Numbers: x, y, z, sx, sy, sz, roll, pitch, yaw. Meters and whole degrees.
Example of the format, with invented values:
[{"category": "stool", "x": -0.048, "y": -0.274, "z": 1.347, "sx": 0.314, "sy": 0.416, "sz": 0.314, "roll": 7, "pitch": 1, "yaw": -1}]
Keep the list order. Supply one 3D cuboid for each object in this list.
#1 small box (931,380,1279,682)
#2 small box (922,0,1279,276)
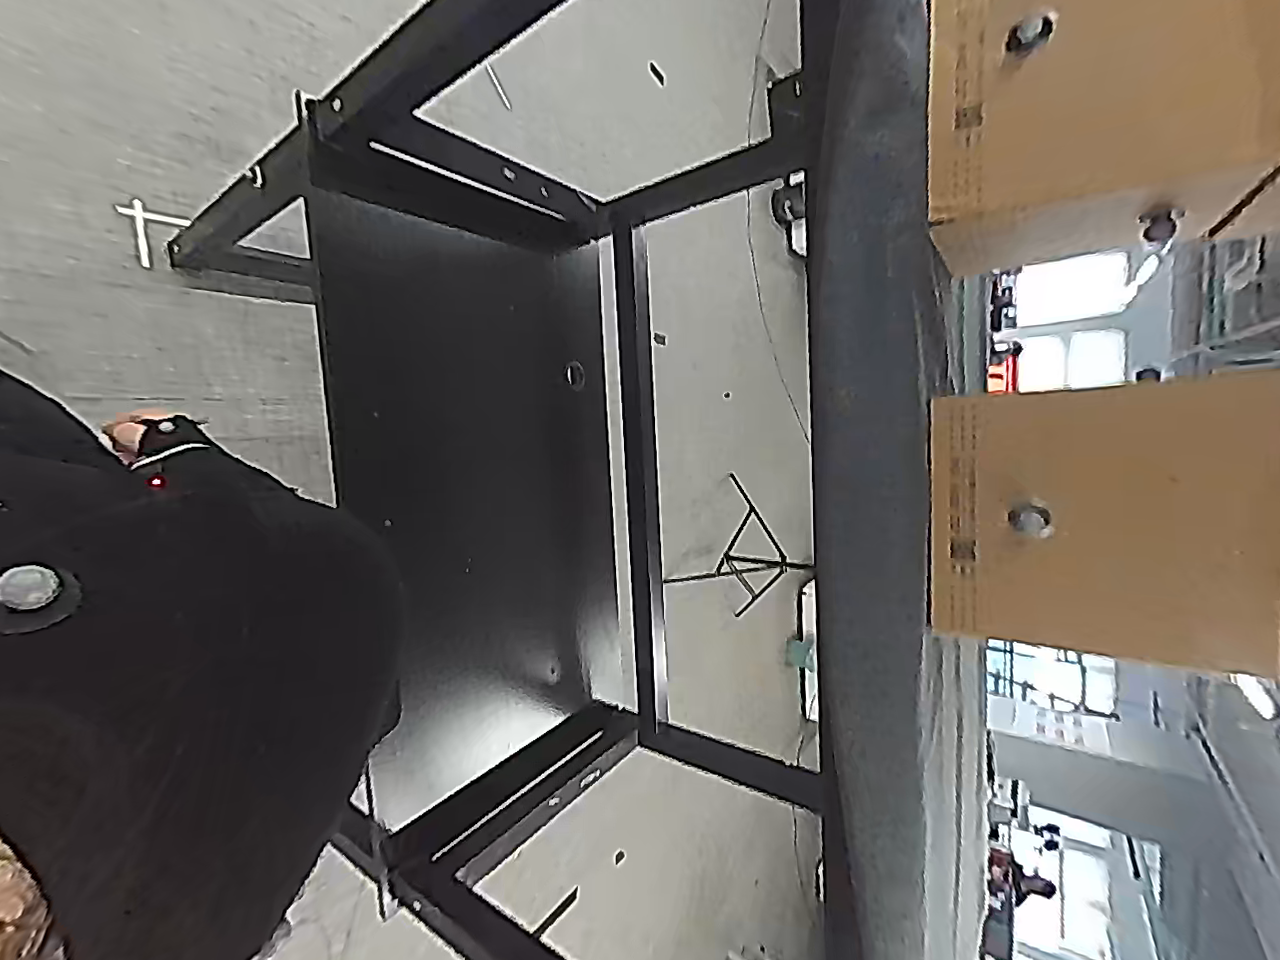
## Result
[{"category": "small box", "x": 0.320, "y": 0.022, "z": 0.398, "sx": 0.179, "sy": 0.176, "sz": 0.168, "roll": -8, "pitch": 96, "yaw": -55}, {"category": "small box", "x": 0.303, "y": -0.250, "z": 0.374, "sx": 0.179, "sy": 0.176, "sz": 0.168, "roll": -12, "pitch": 101, "yaw": -54}]
